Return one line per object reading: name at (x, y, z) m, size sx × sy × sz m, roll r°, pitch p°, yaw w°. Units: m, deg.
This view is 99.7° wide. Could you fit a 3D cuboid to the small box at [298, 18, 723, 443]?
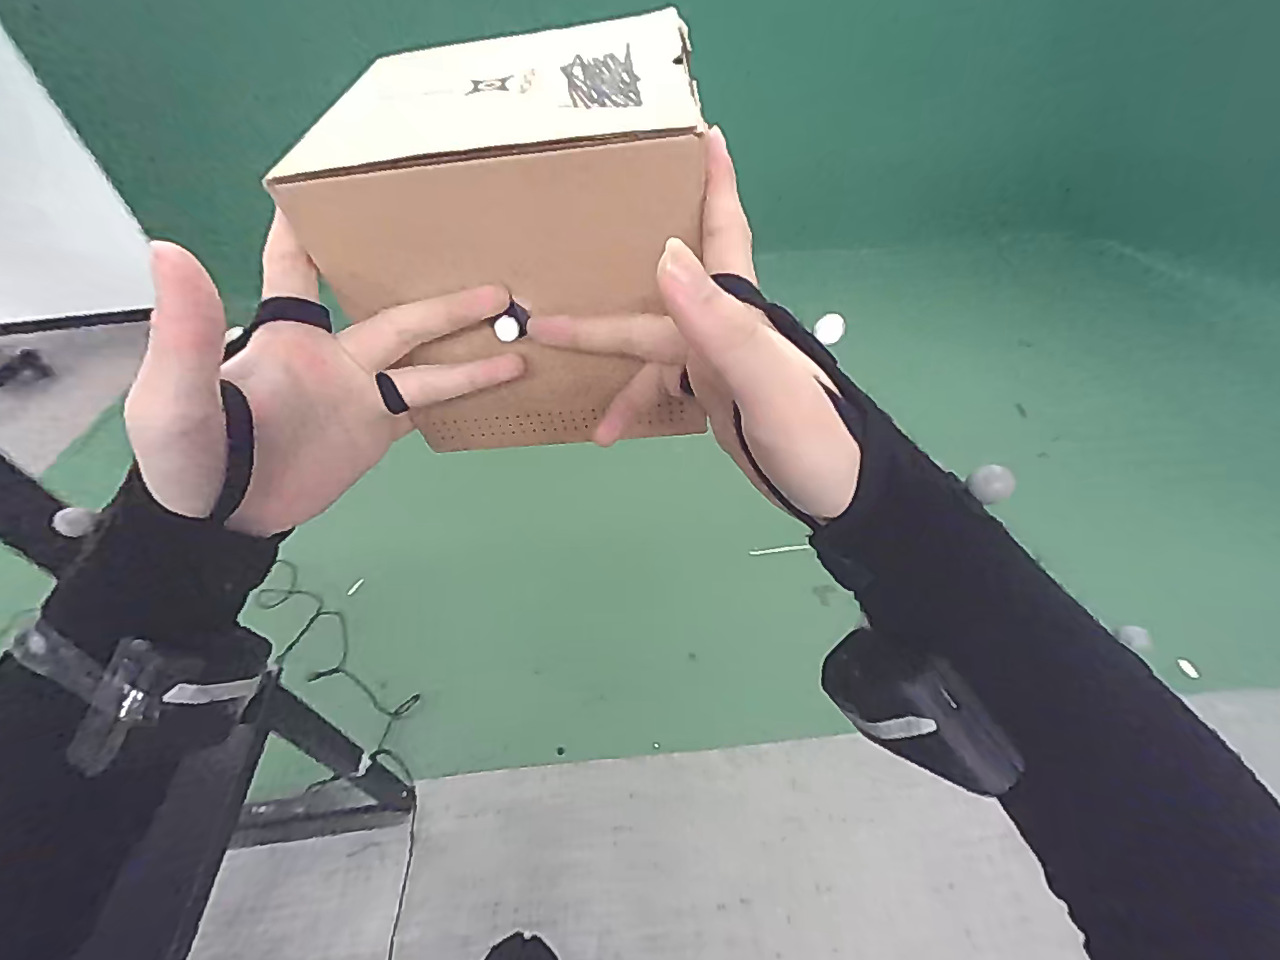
small box at (-0.046, -0.139, 0.325) m, size 0.179 × 0.176 × 0.168 m, roll -4°, pitch 51°, yaw 6°
